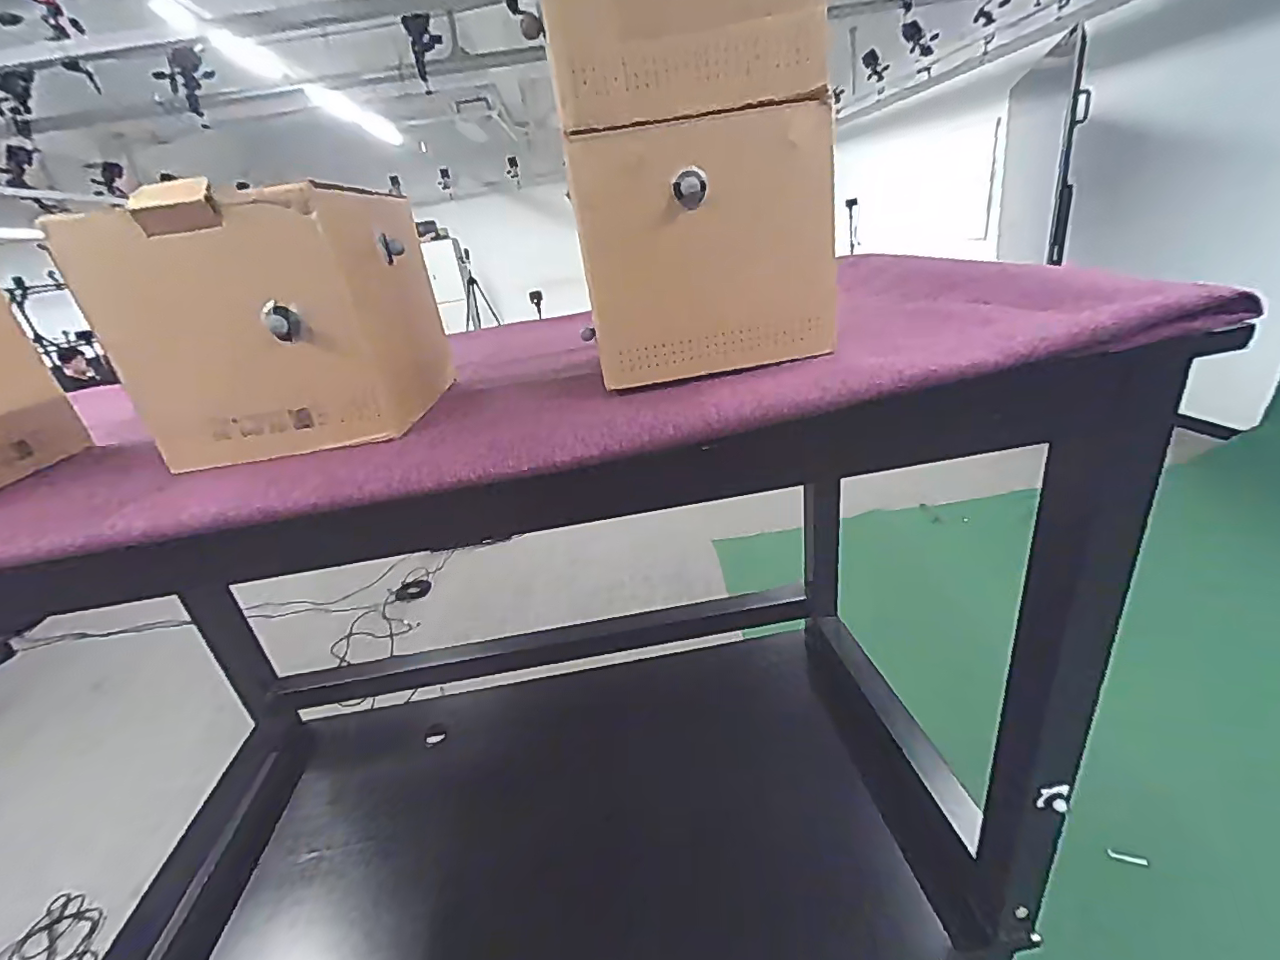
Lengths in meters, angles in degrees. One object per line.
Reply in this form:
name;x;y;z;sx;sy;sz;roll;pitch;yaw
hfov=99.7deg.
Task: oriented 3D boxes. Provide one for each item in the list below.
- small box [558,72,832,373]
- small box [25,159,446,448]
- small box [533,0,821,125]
small box;0.040;-0.190;0.435;0.179;0.176;0.168;-10;22;-3
small box;-0.266;-0.129;0.417;0.168;0.176;0.179;-8;24;-1
small box;0.013;-0.339;0.378;0.179;0.176;0.168;-10;22;-2
